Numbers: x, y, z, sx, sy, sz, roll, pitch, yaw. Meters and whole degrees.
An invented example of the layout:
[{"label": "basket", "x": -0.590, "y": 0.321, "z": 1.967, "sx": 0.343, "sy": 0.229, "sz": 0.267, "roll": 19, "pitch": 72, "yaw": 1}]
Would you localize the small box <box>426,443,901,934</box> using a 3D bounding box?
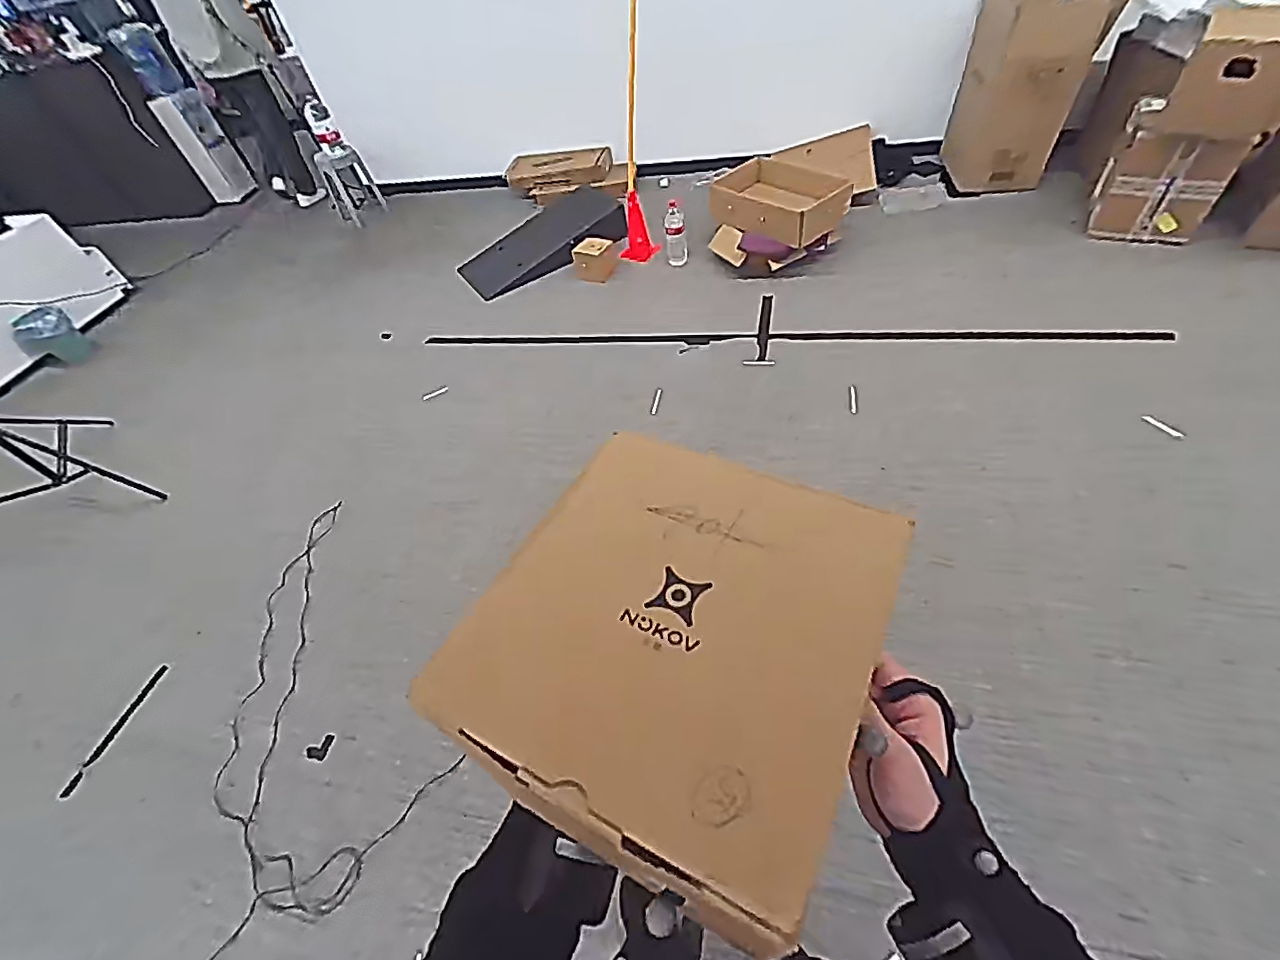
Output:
[{"label": "small box", "x": 0.025, "y": 0.113, "z": 0.306, "sx": 0.168, "sy": 0.176, "sz": 0.179, "roll": 19, "pitch": 52, "yaw": 23}]
